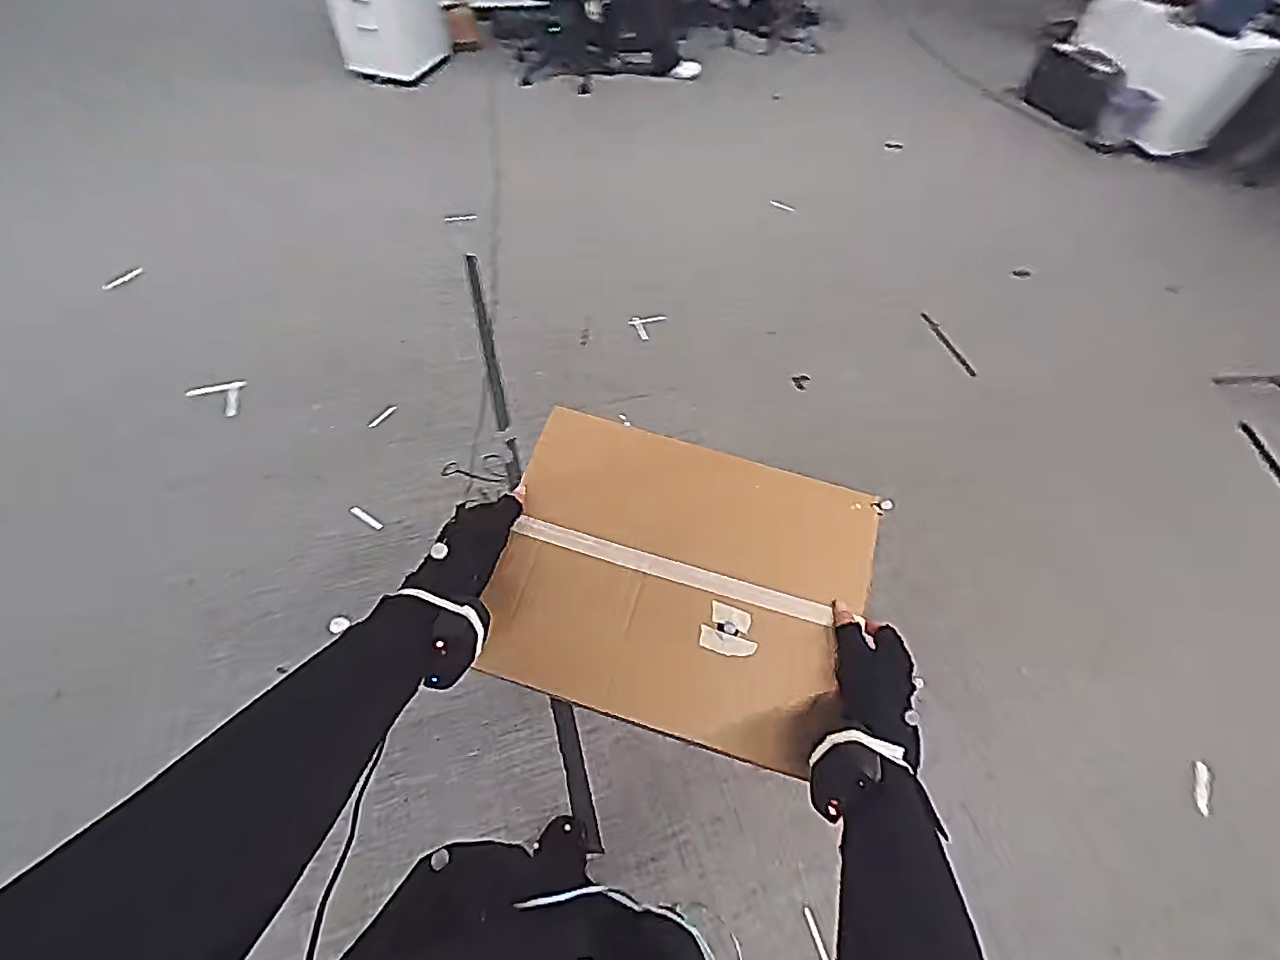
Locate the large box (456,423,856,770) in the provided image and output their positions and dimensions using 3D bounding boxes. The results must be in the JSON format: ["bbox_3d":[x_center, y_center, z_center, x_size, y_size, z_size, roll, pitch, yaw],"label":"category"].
[{"bbox_3d":[0.026,0.167,0.747,0.408,0.320,0.320,15,68,4],"label":"large box"}]
